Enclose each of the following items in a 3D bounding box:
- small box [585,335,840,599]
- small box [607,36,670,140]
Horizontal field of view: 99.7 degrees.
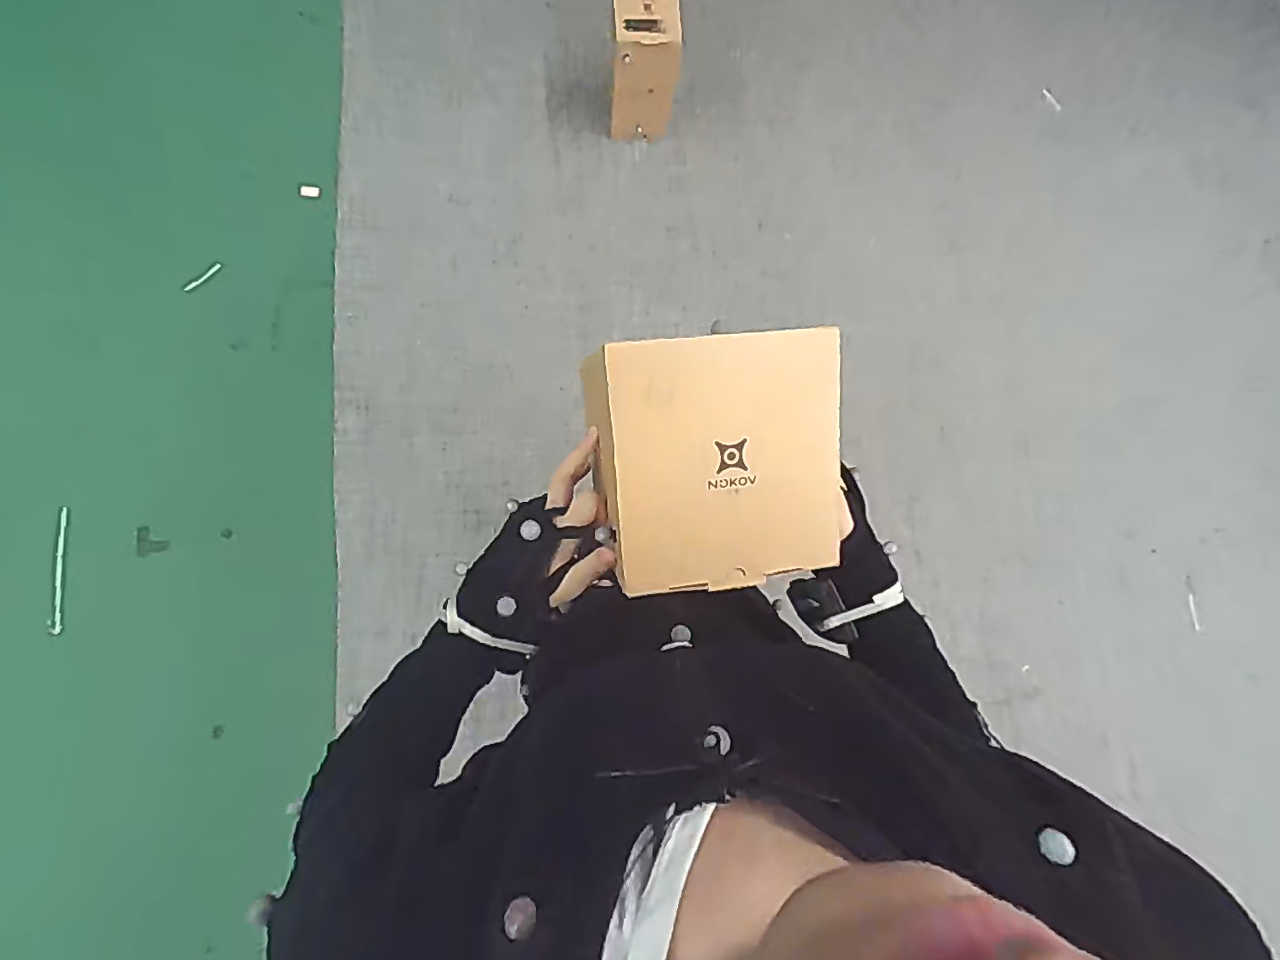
[{"bbox_3d":[0.048,-0.023,0.456,0.168,0.176,0.179,-6,103,-10],"label":"small box"},{"bbox_3d":[-0.009,-1.130,1.567,0.168,0.176,0.179,-2,85,-6],"label":"small box"}]
